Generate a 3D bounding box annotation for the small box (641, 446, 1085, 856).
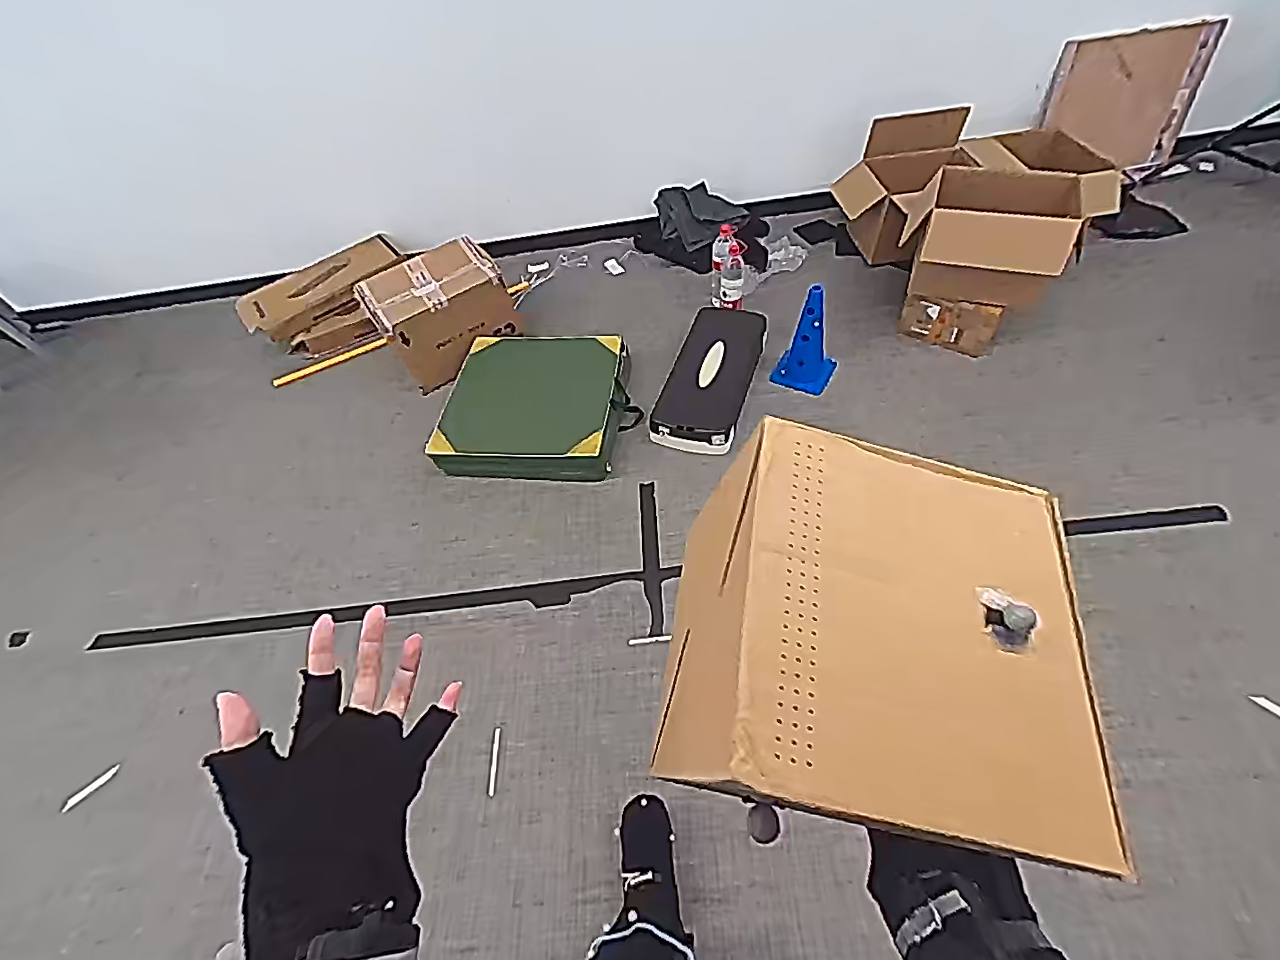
[{"bbox_3d":[0.106,0.101,0.329,0.176,0.168,0.179,14,60,-2],"label":"small box"}]
